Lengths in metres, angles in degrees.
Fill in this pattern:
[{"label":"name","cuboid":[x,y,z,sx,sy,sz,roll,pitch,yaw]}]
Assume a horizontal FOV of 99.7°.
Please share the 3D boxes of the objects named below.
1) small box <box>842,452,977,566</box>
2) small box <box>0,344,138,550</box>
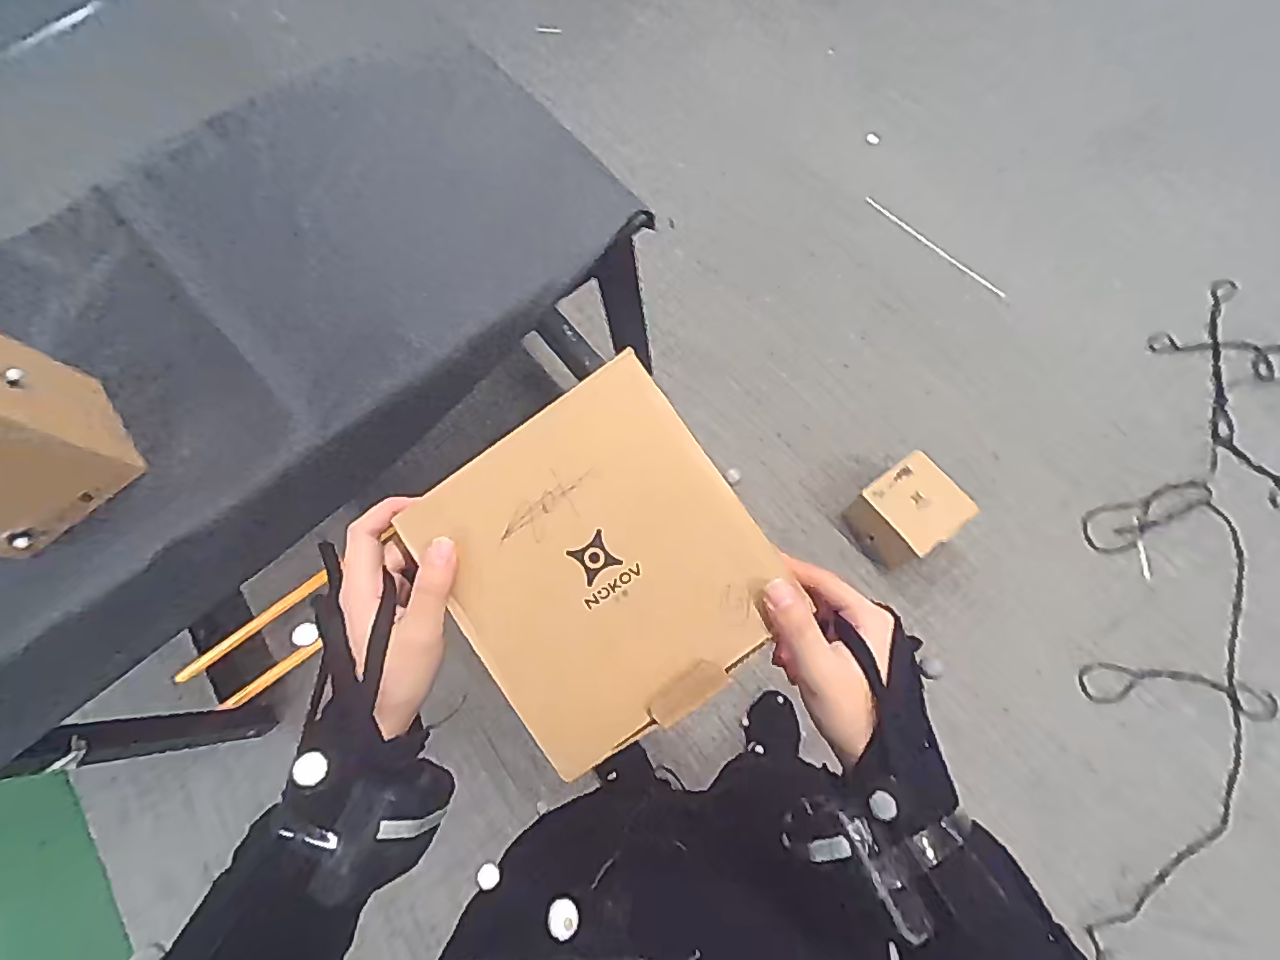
[{"label":"small box","cuboid":[0.580,0.074,1.191,0.168,0.176,0.179,-35,72,-7]},{"label":"small box","cuboid":[-0.715,-0.041,0.589,0.168,0.176,0.179,-41,71,-9]}]
